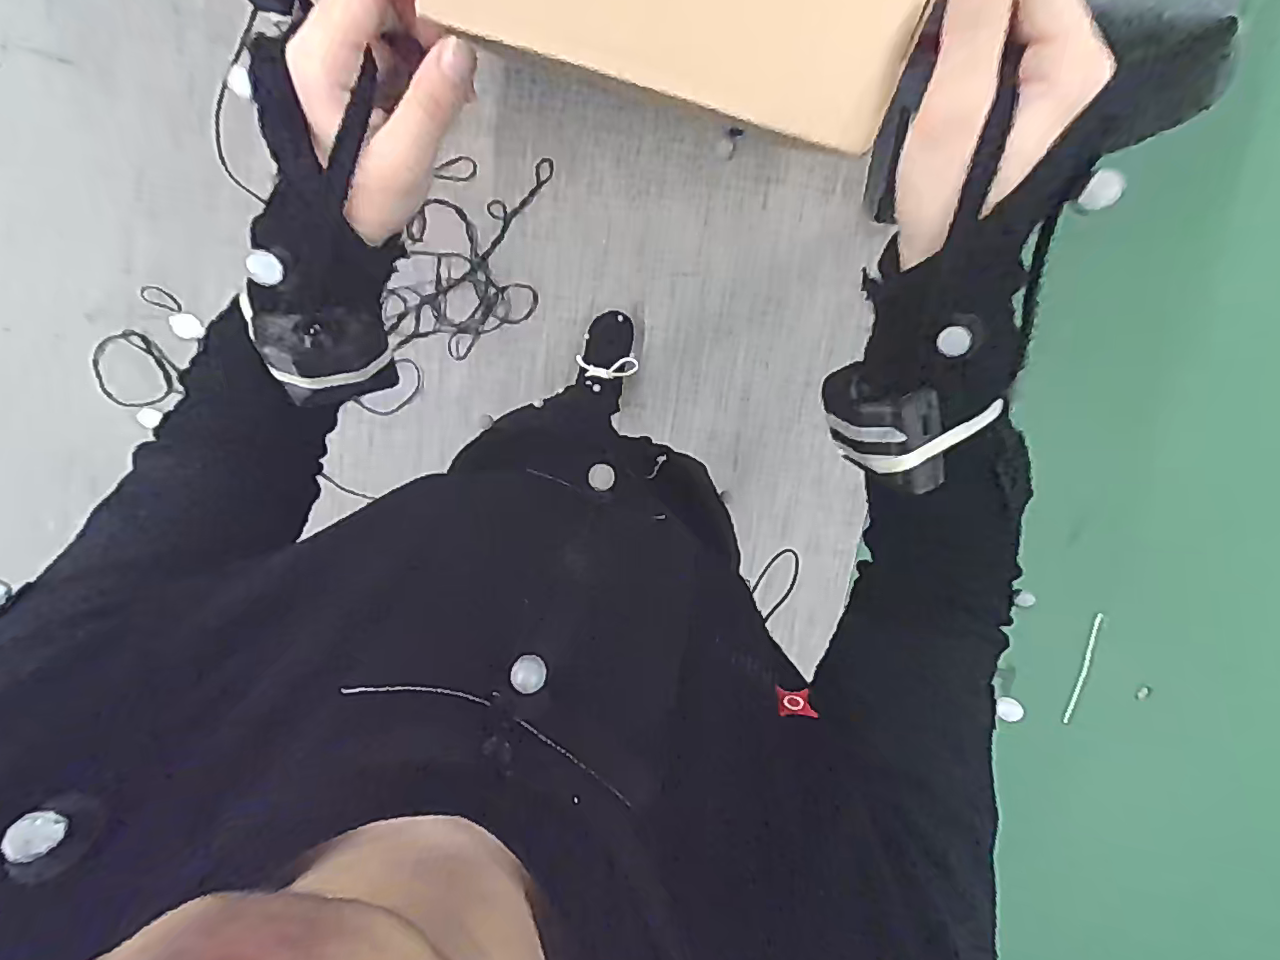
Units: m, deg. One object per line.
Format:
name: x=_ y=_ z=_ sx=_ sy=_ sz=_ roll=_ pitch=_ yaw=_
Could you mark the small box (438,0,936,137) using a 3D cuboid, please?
small box: x=0.026 y=-0.259 z=0.219 sx=0.179 sy=0.176 sz=0.168 roll=10 pitch=122 yaw=-9
